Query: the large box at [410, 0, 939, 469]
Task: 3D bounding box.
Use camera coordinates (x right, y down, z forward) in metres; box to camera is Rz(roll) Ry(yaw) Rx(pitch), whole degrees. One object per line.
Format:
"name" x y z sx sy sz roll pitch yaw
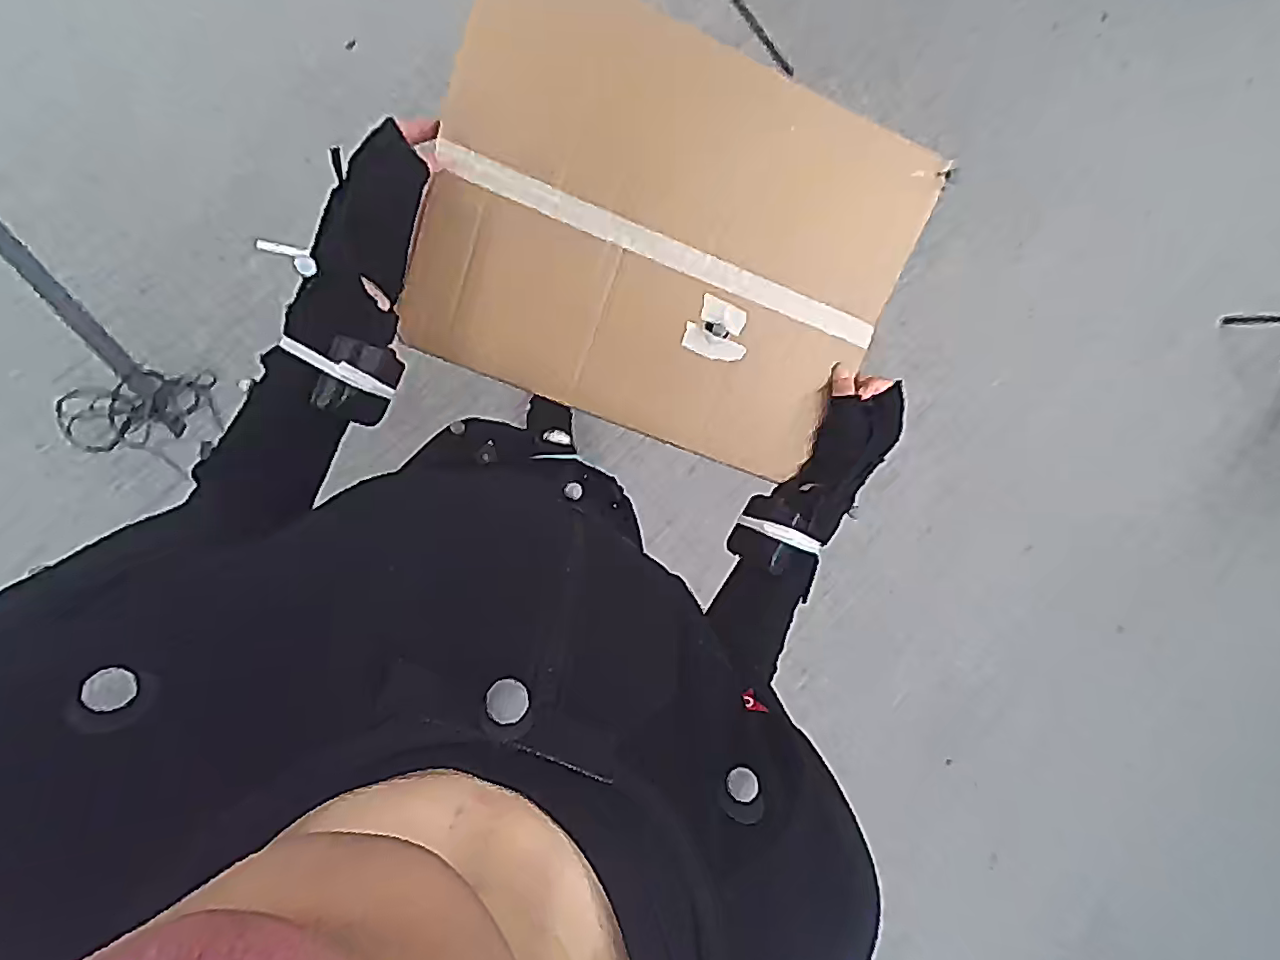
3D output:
"large box" 0.016 -0.250 0.622 0.408 0.320 0.320 20 105 -11
